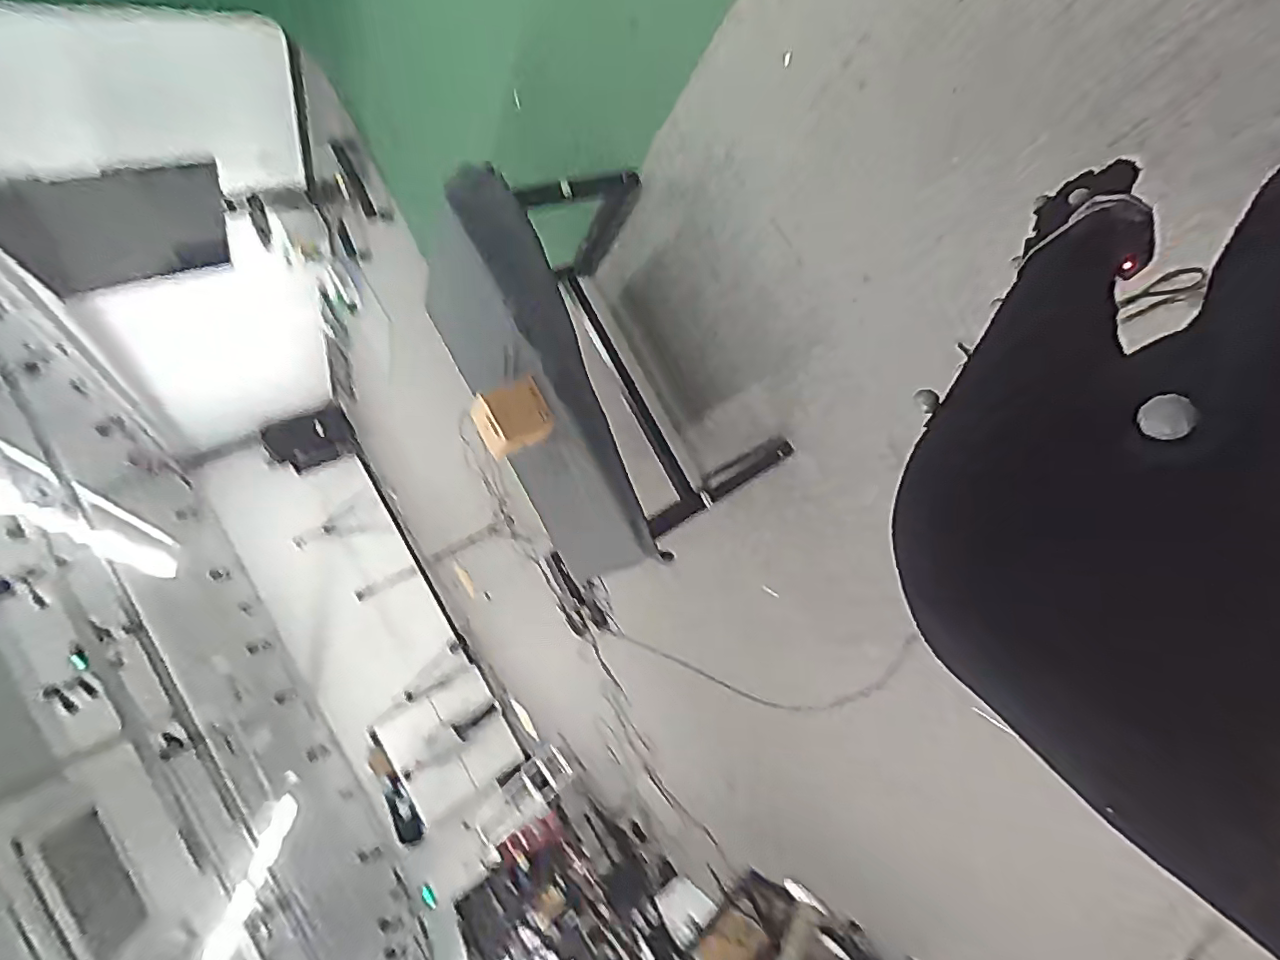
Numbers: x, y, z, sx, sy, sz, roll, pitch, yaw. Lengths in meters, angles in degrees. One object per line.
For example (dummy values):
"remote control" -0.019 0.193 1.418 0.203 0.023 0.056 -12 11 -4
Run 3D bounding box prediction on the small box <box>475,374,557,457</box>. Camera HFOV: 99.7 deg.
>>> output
"small box" -0.374 -0.199 1.642 0.168 0.176 0.179 60 148 4
